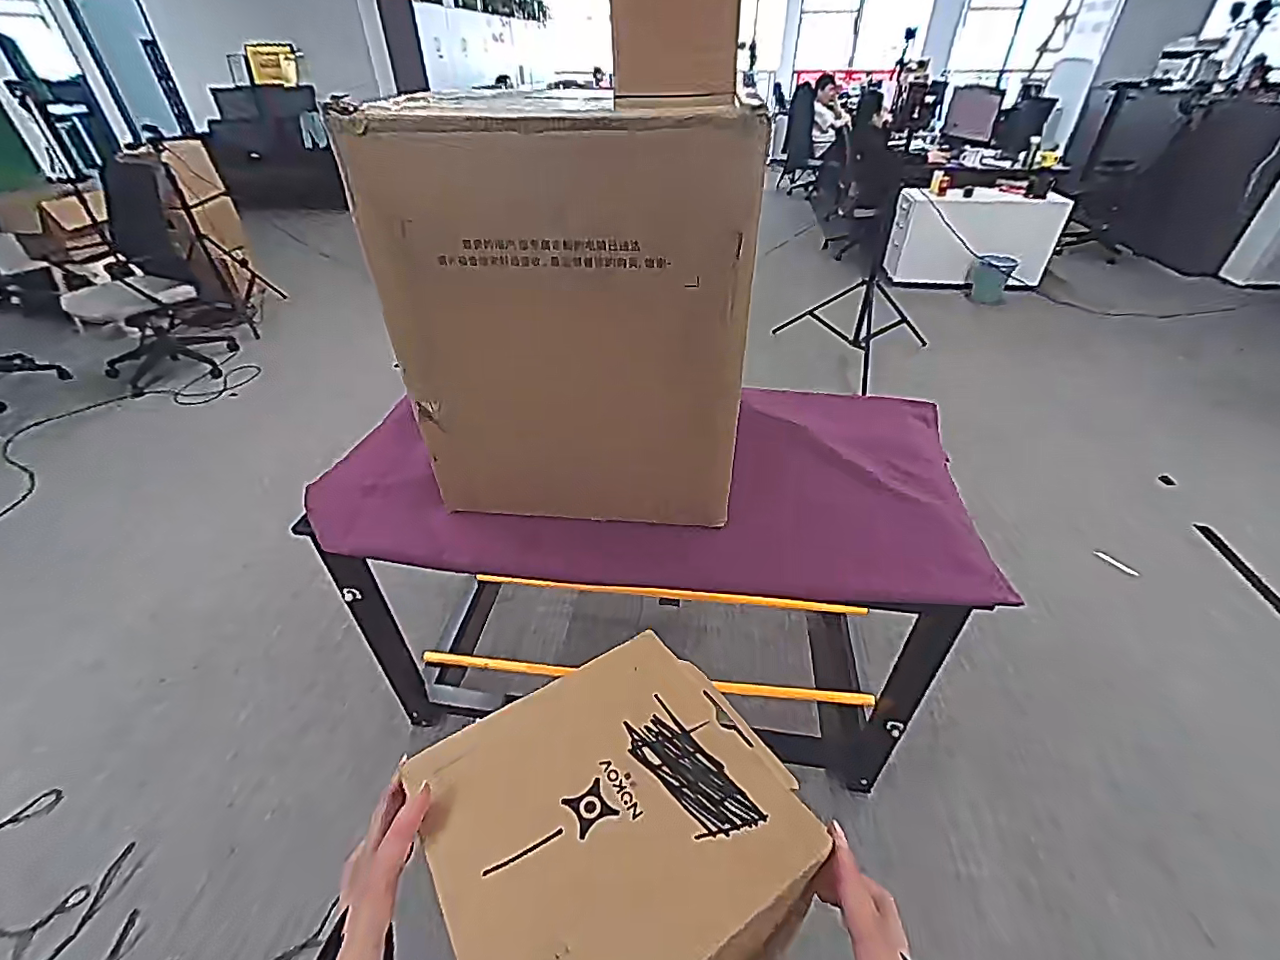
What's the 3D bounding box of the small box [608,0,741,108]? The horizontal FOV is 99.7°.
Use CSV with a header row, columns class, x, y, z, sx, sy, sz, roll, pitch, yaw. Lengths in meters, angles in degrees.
class,x,y,z,sx,sy,sz,roll,pitch,yaw
small box,0.051,-0.633,0.766,0.179,0.176,0.168,3,38,6
